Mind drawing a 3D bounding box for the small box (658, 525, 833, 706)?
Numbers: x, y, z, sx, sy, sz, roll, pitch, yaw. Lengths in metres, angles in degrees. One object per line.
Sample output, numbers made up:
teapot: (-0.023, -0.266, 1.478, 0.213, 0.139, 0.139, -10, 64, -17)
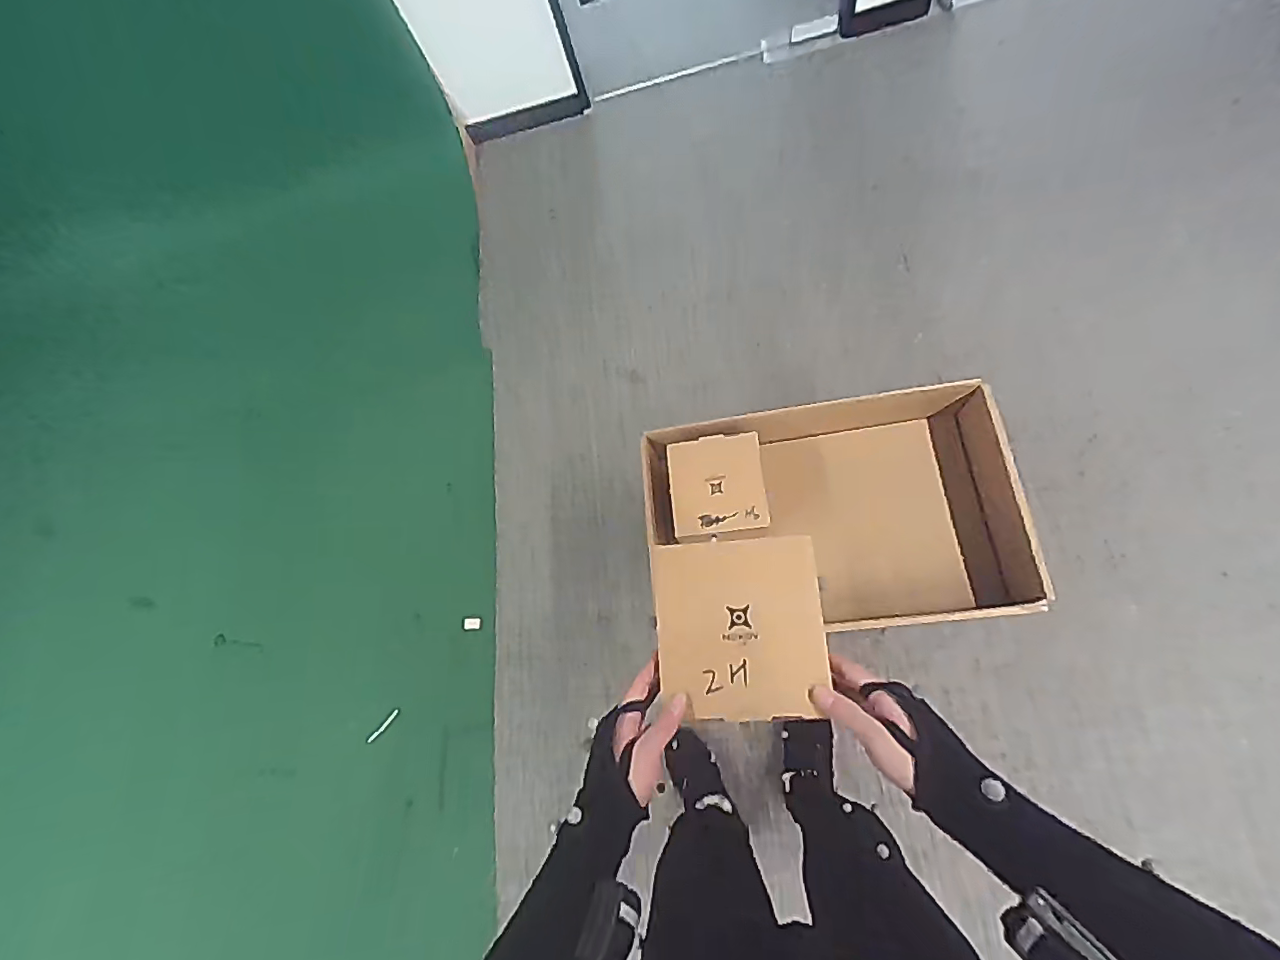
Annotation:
small box: (0.112, 0.158, 0.620, 0.168, 0.176, 0.179, -5, 73, 8)

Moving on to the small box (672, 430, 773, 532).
small box: (0.155, 0.023, 1.020, 0.168, 0.176, 0.179, -6, 72, 10)
